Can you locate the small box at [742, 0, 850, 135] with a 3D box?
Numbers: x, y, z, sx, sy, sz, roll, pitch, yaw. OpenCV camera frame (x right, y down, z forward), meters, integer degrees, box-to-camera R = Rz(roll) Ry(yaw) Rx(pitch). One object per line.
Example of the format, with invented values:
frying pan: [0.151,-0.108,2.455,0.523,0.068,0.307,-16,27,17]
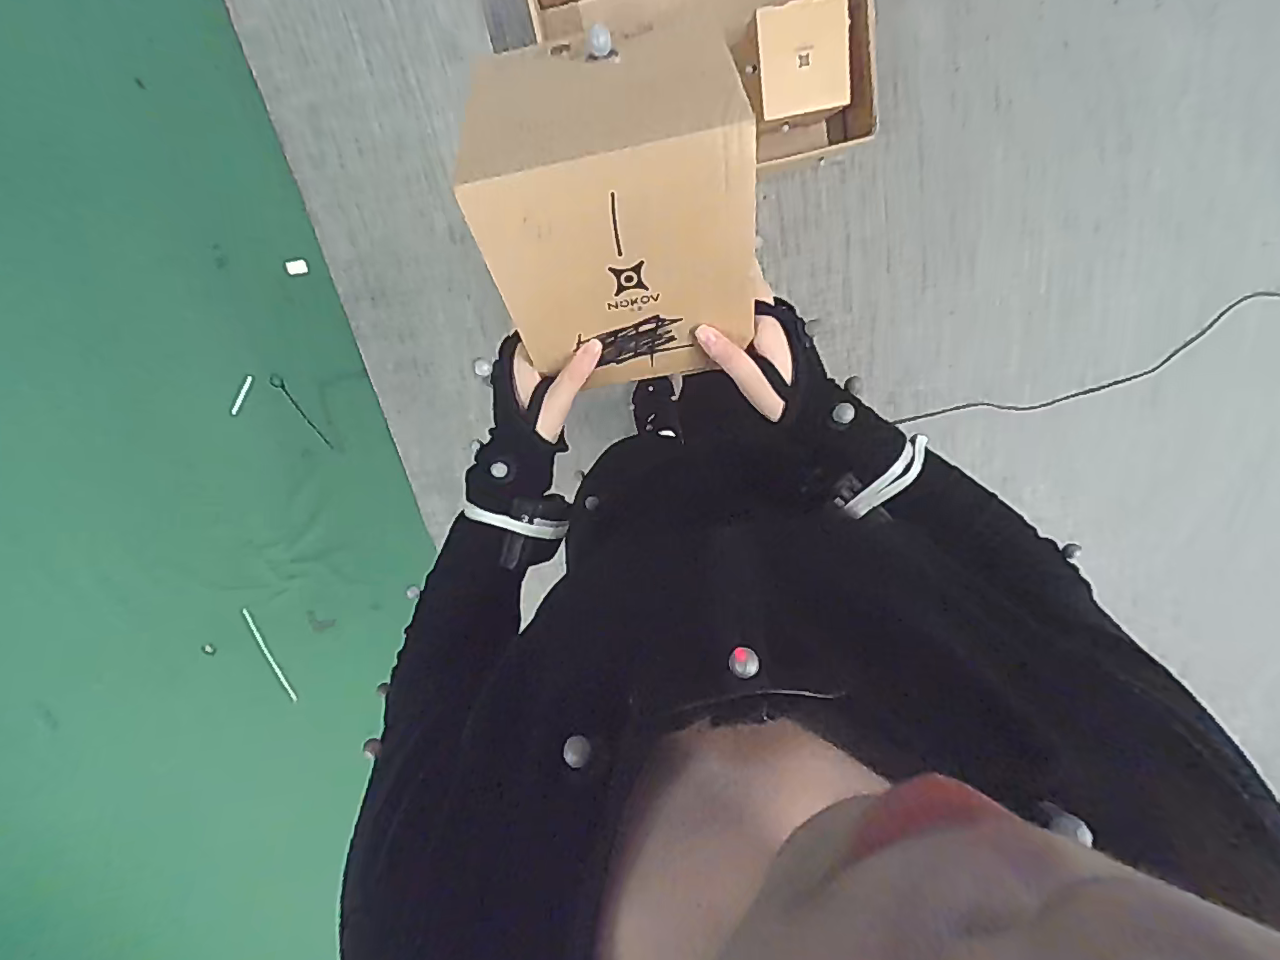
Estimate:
small box: [0.302,-0.801,1.065,0.168,0.176,0.179,-9,111,3]

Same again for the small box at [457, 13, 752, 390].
small box: [-0.014,-0.197,0.403,0.168,0.176,0.179,-9,146,6]
